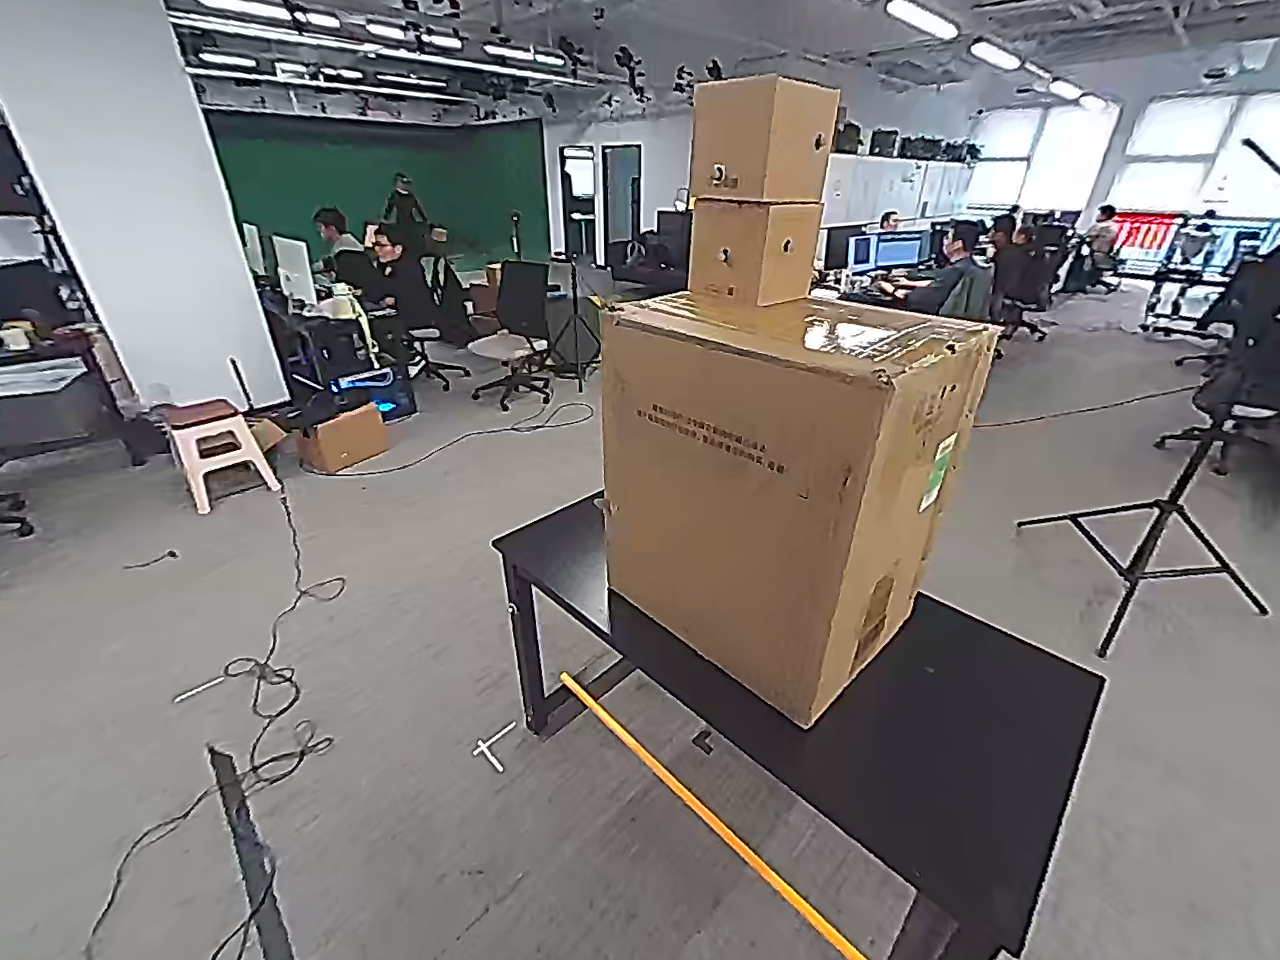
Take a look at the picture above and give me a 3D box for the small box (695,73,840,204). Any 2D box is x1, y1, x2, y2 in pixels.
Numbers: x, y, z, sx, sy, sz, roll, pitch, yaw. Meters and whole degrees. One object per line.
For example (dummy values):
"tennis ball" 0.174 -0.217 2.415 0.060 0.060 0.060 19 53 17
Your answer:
"small box" 0.206 -0.566 0.914 0.179 0.176 0.168 -24 37 -37

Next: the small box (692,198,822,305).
"small box" 0.212 -0.429 1.005 0.179 0.176 0.168 -25 39 -38
